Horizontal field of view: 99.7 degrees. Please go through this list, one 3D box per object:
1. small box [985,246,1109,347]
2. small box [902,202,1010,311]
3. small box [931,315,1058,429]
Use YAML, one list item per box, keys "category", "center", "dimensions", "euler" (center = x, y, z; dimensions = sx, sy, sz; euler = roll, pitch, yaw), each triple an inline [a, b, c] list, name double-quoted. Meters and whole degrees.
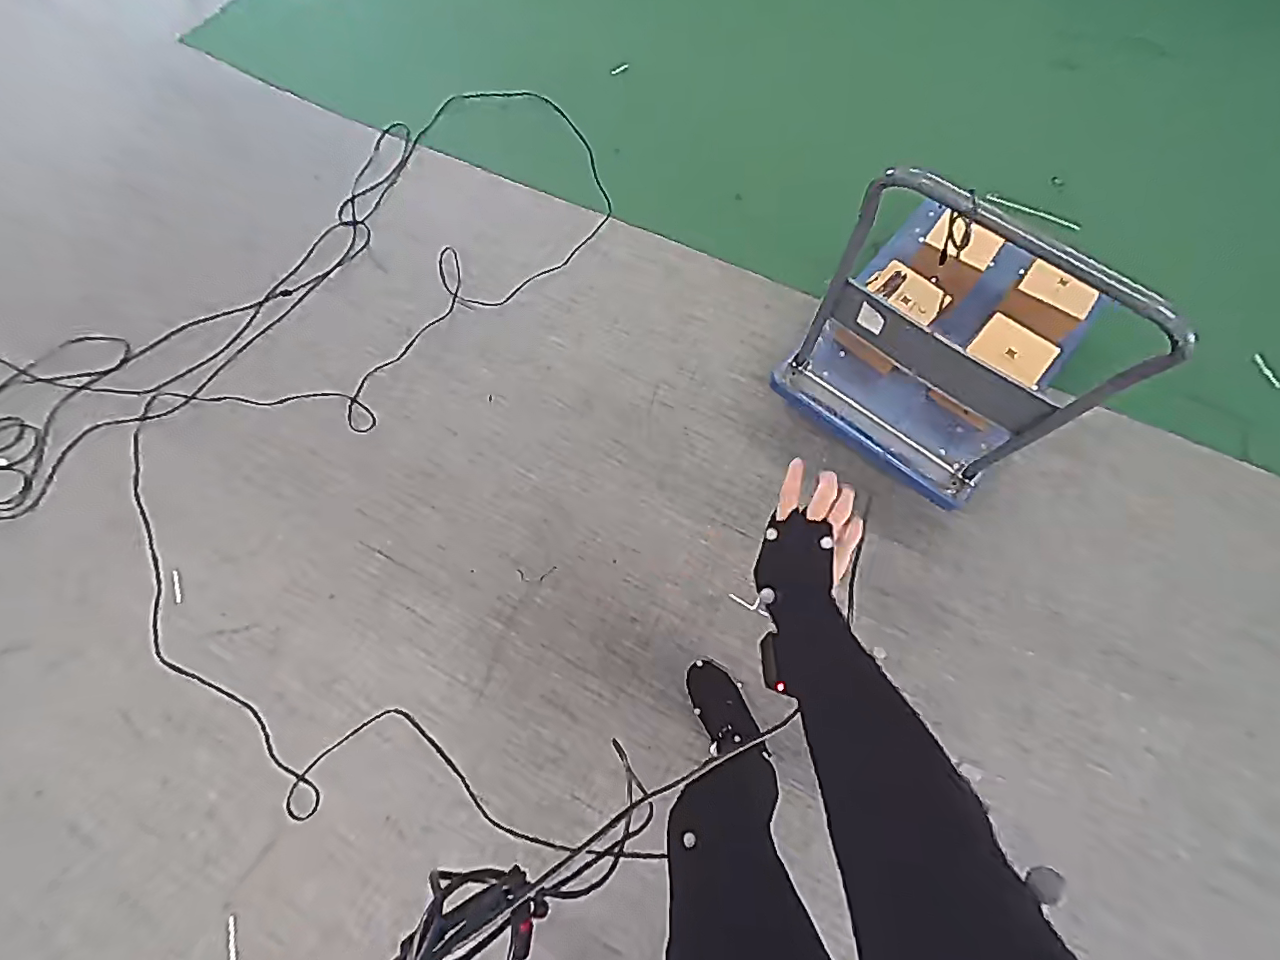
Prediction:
- category: "small box"
  center: [1.039, -0.456, 1.397]
  dimensions: [0.168, 0.176, 0.179]
  euler: [35, 76, 15]
- category: "small box"
  center: [0.838, -0.595, 1.457]
  dimensions: [0.168, 0.176, 0.179]
  euler: [35, 75, 13]
- category: "small box"
  center: [0.862, -0.261, 1.334]
  dimensions: [0.168, 0.176, 0.179]
  euler: [40, 76, 15]
